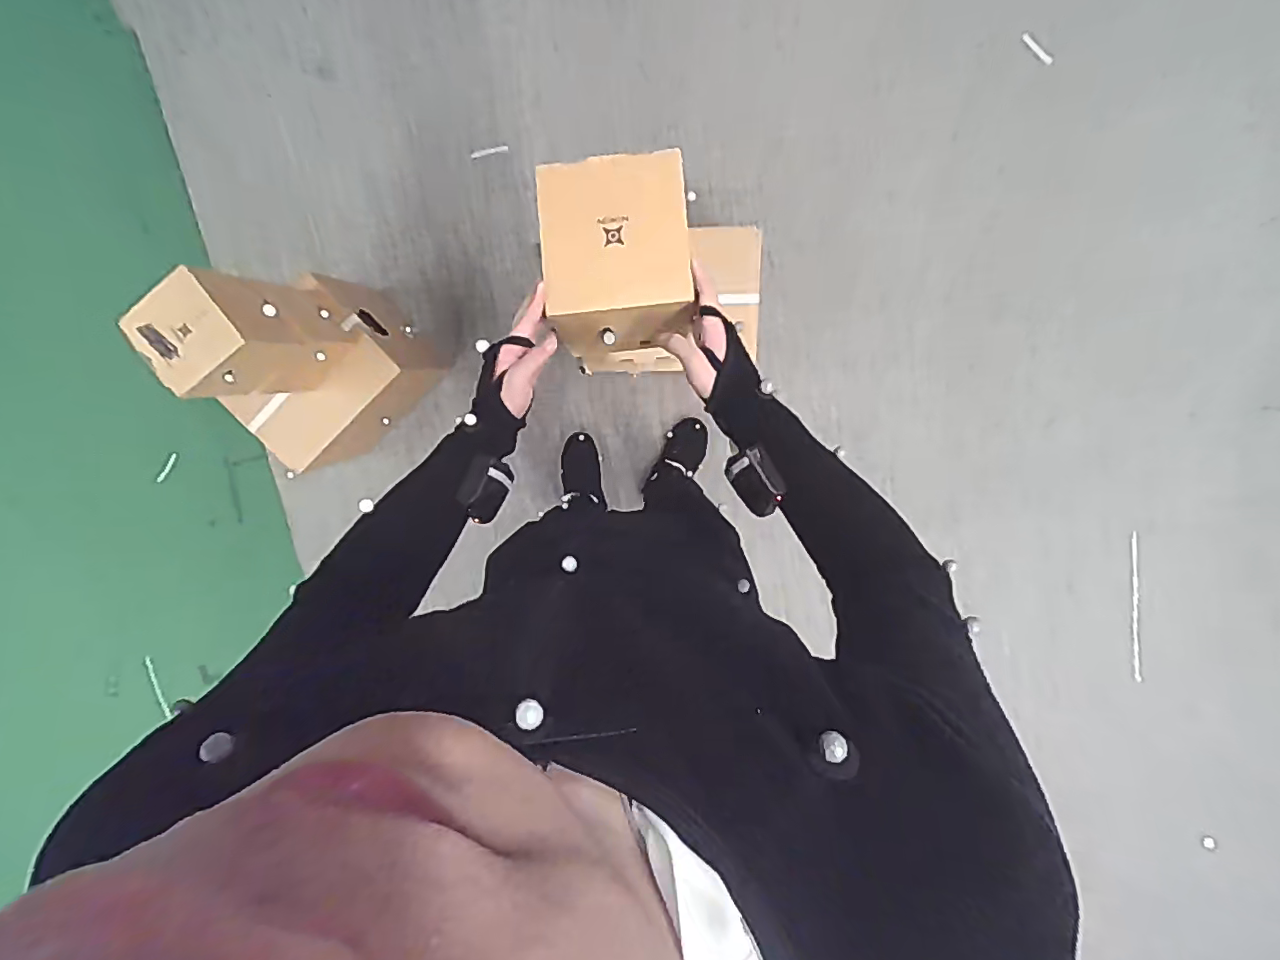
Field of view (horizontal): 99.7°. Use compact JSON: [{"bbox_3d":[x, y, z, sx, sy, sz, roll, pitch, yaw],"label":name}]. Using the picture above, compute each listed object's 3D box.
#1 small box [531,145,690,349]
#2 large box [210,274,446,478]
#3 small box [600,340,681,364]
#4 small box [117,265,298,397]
[{"bbox_3d":[-0.027,-0.267,0.665,0.168,0.176,0.179,-5,88,3],"label":"small box"},{"bbox_3d":[-0.812,-0.276,1.454,0.408,0.320,0.320,-41,96,11],"label":"large box"},{"bbox_3d":[0.001,-0.343,1.148,0.168,0.176,0.179,-3,103,3],"label":"small box"},{"bbox_3d":[-0.812,-0.275,1.035,0.179,0.176,0.168,-35,98,9],"label":"small box"}]
